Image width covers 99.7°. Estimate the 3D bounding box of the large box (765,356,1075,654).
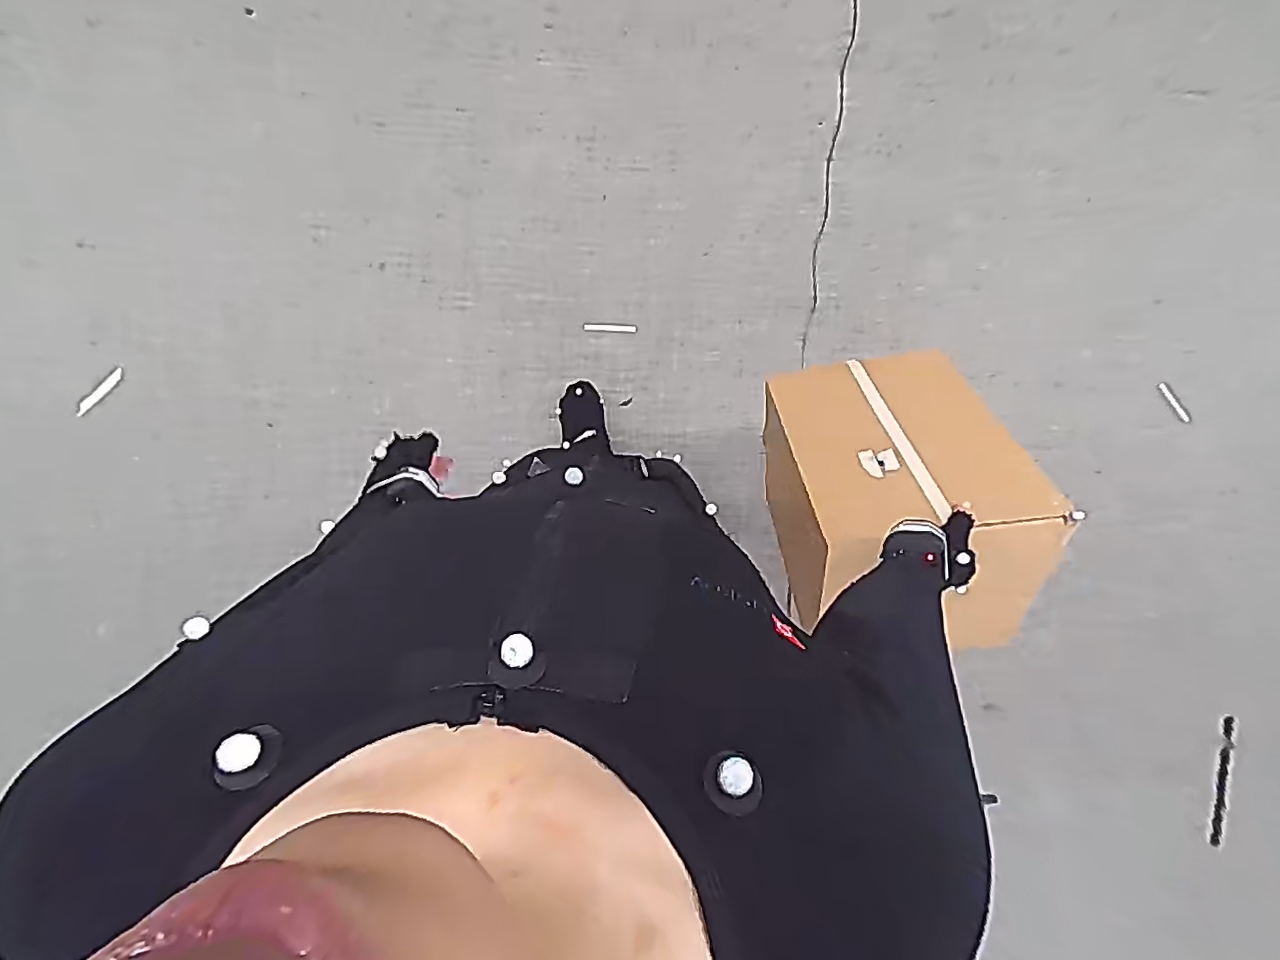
[{"bbox_3d":[0.417,0.037,0.946,0.320,0.408,0.320,-8,134,4],"label":"large box"}]
